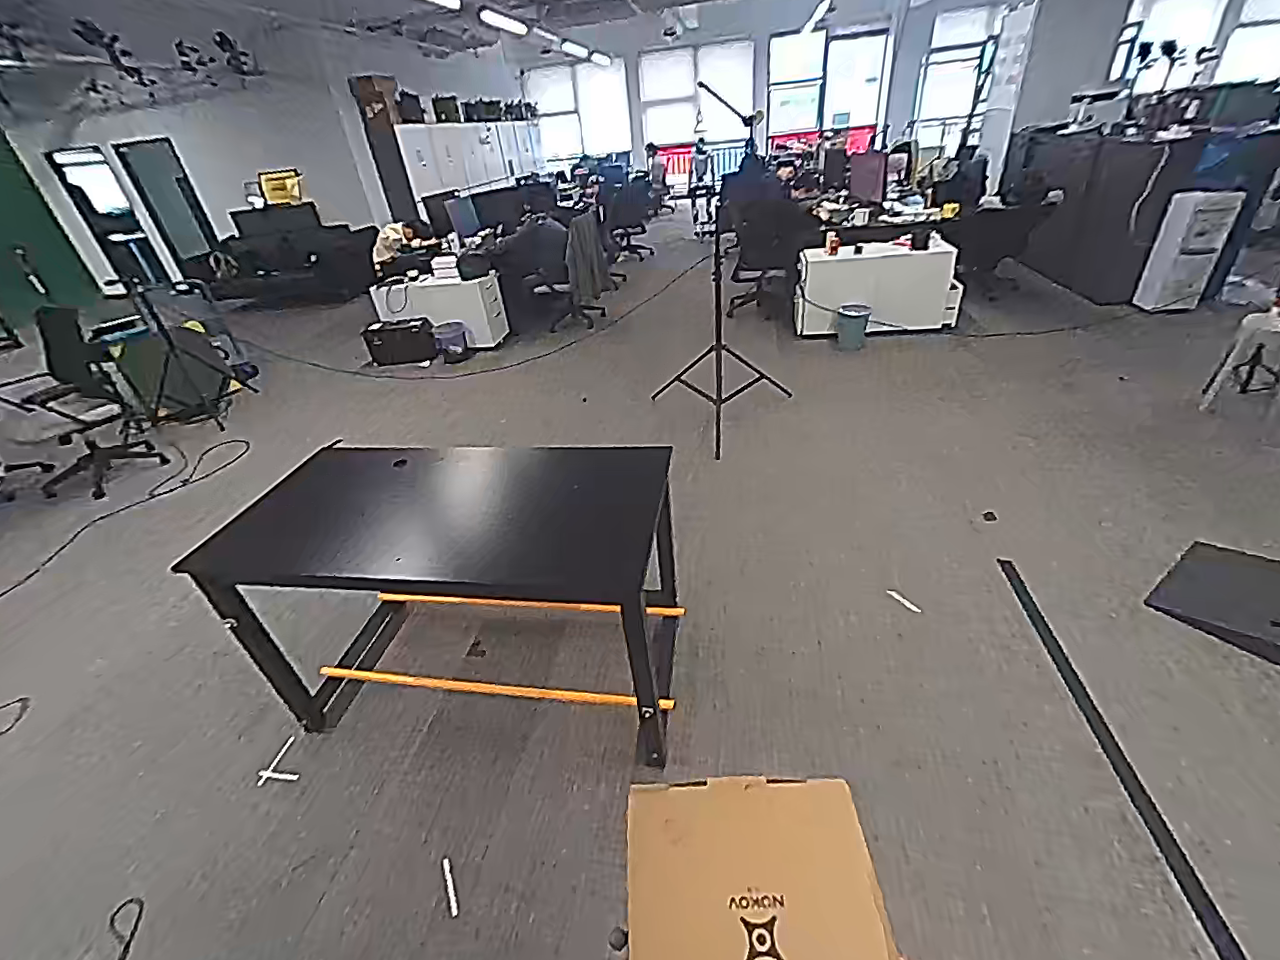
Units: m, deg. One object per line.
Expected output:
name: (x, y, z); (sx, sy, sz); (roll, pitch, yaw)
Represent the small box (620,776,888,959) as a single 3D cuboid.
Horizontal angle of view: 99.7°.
small box: (0.069, 0.341, 0.394); (0.168, 0.176, 0.179); (-2, 42, -1)
